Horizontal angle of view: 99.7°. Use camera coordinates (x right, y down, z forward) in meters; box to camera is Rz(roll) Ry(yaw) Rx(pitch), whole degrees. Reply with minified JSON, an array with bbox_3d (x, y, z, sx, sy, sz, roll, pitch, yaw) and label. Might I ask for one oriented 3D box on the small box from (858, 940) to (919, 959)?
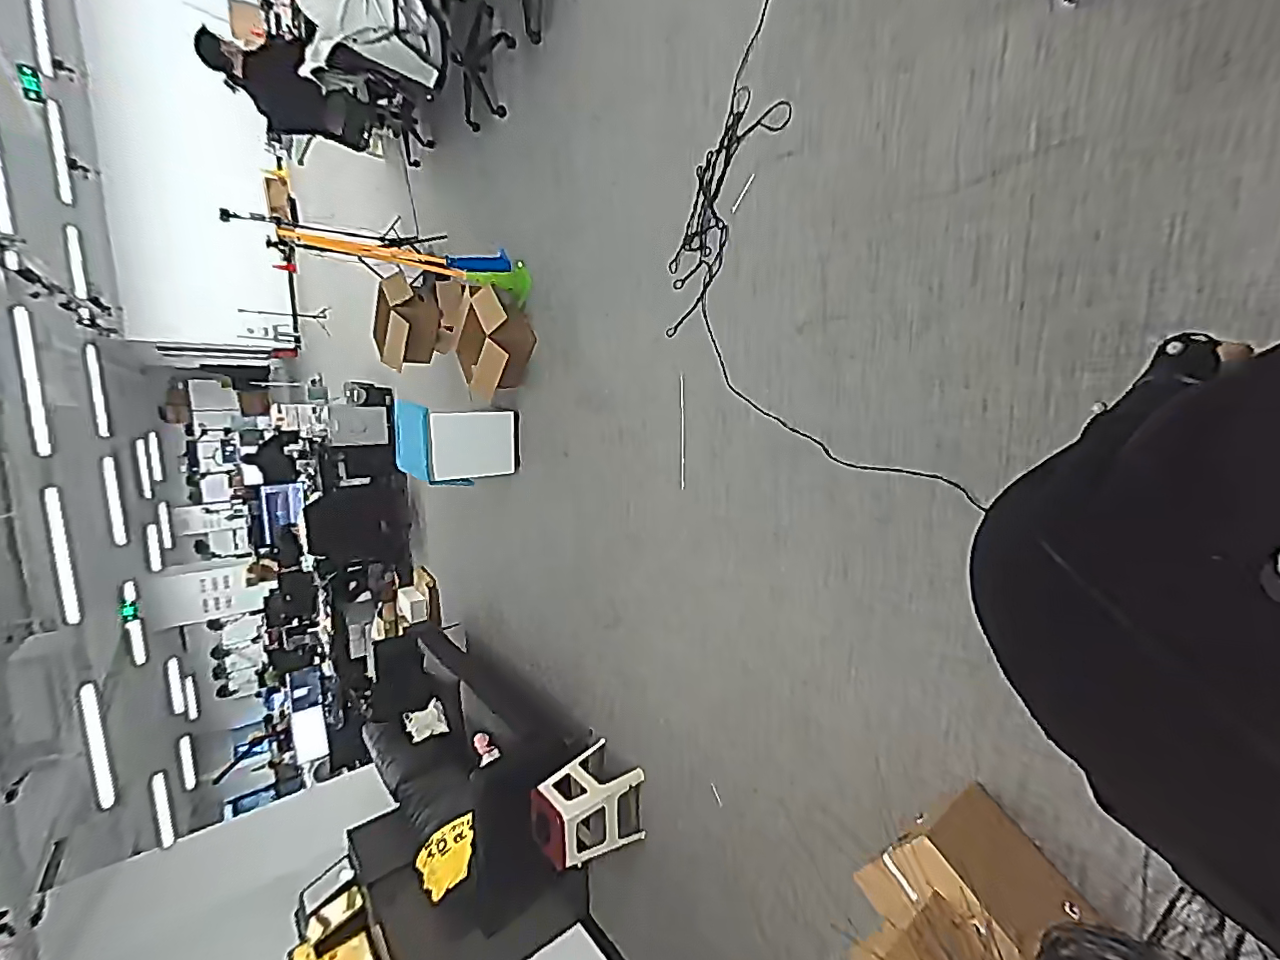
[{"bbox_3d":[0.522,1.111,1.127,0.168,0.176,0.179,52,134,34],"label":"small box"}]
